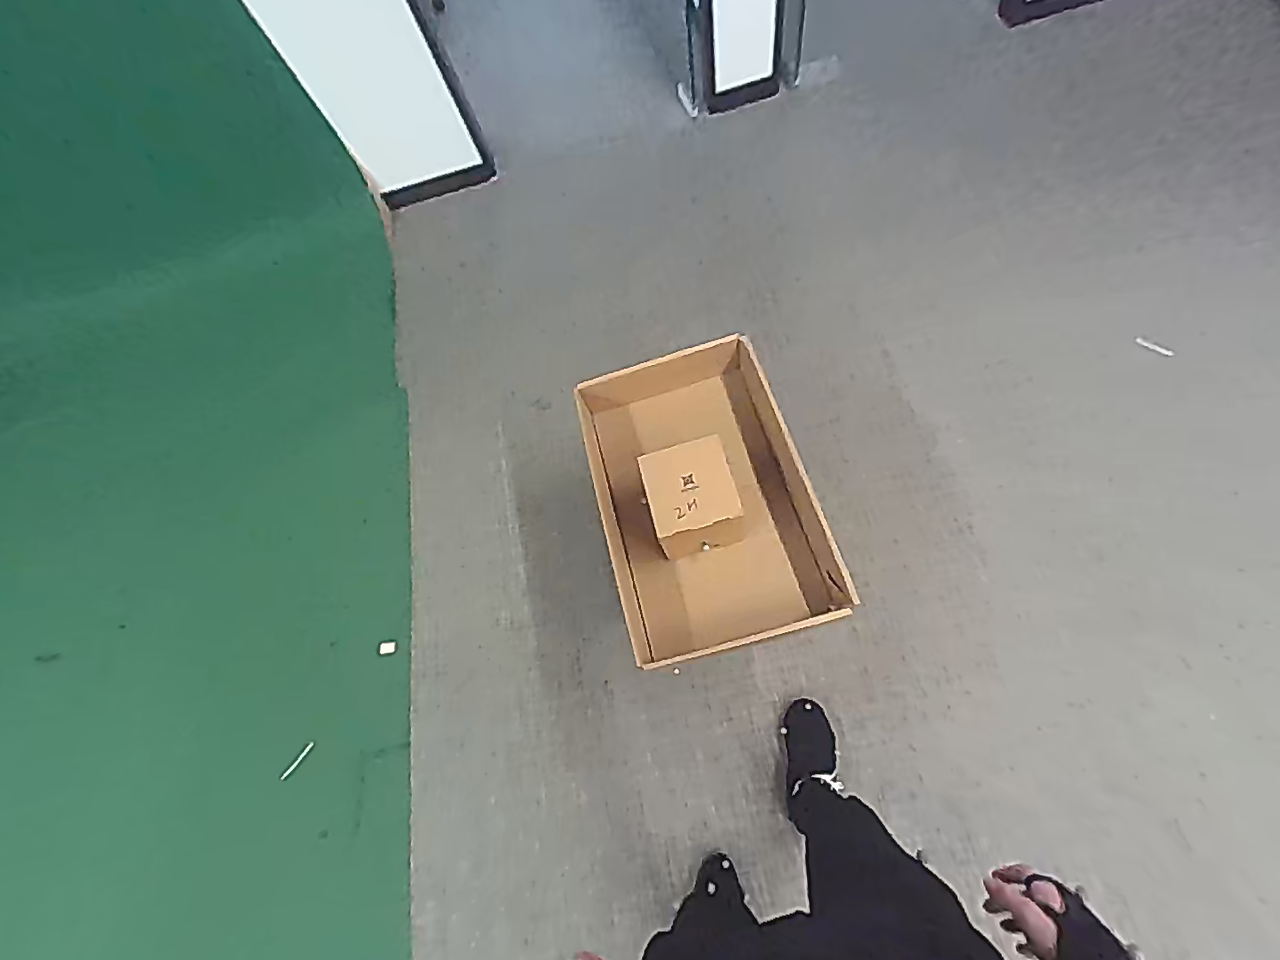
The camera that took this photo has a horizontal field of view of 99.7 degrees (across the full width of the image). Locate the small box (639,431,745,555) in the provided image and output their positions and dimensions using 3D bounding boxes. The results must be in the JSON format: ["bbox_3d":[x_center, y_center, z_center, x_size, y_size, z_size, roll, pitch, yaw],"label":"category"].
[{"bbox_3d":[0.106,0.031,1.085,0.168,0.176,0.179,-16,66,4],"label":"small box"}]
